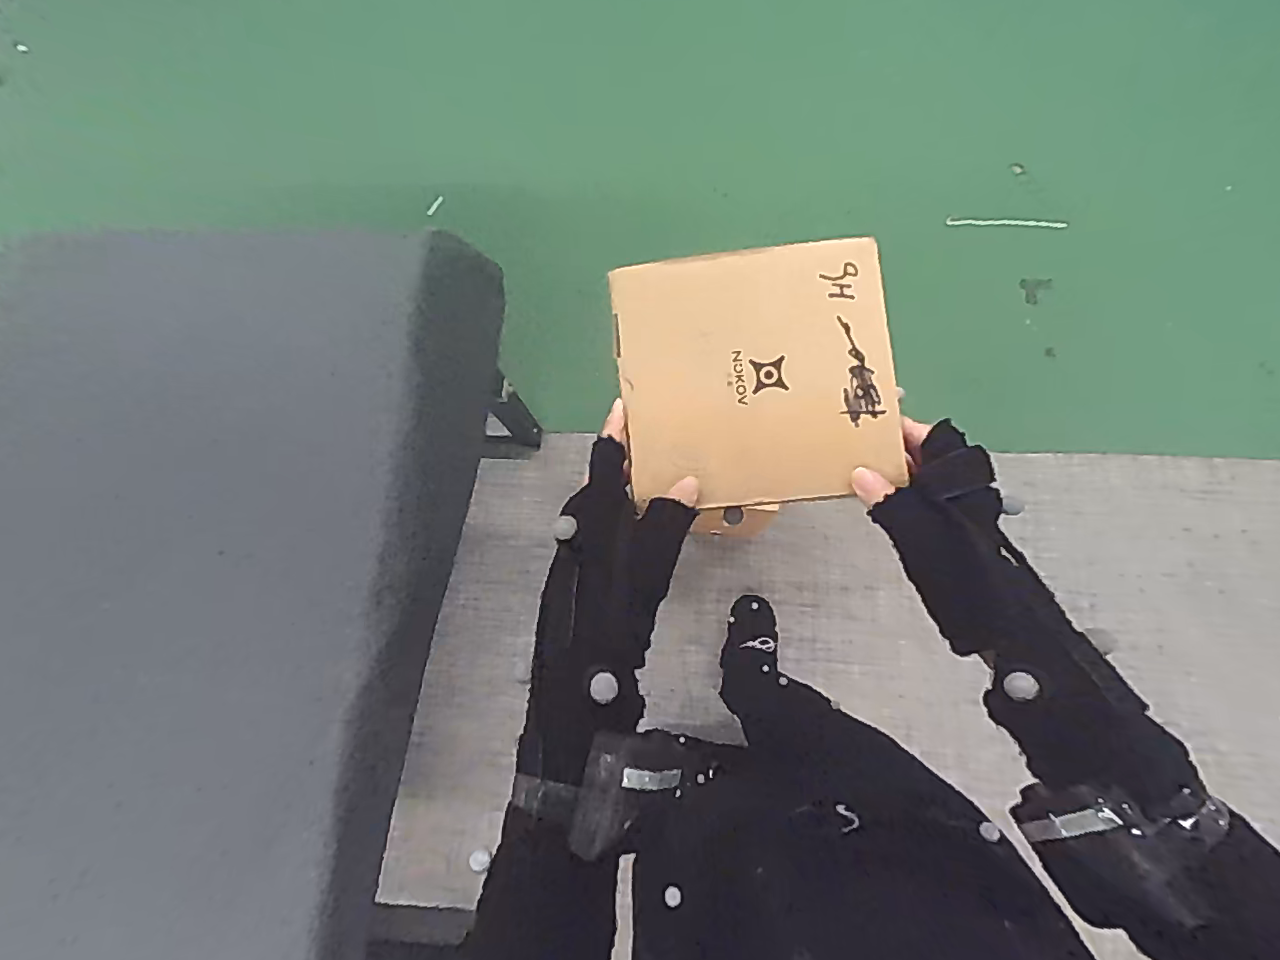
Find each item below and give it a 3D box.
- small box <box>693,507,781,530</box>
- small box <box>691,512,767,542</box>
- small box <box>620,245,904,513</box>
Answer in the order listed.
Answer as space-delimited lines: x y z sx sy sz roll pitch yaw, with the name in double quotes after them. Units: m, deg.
0.198 -0.005 1.106 0.168 0.176 0.179 6 77 7 "small box"
0.208 0.041 1.264 0.168 0.176 0.179 6 77 6 "small box"
0.083 -0.062 0.435 0.179 0.176 0.168 -4 85 3 "small box"
